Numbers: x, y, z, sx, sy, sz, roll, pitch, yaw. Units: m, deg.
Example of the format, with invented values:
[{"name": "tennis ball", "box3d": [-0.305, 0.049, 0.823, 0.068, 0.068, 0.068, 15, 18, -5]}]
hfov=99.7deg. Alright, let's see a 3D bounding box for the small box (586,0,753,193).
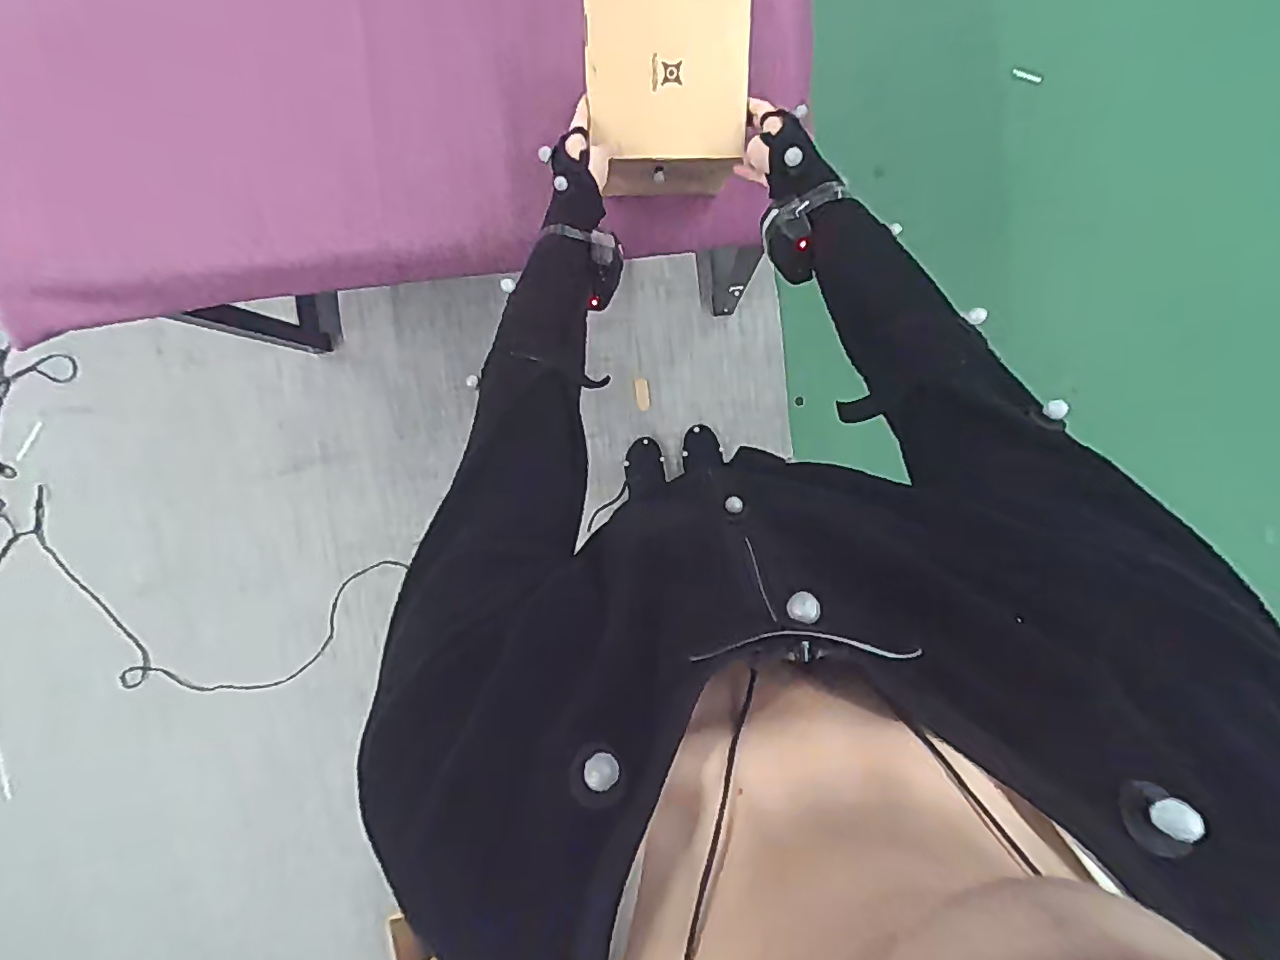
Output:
[{"name": "small box", "box3d": [0.032, -0.458, 0.657, 0.179, 0.176, 0.168, -1, 106, 2]}]
